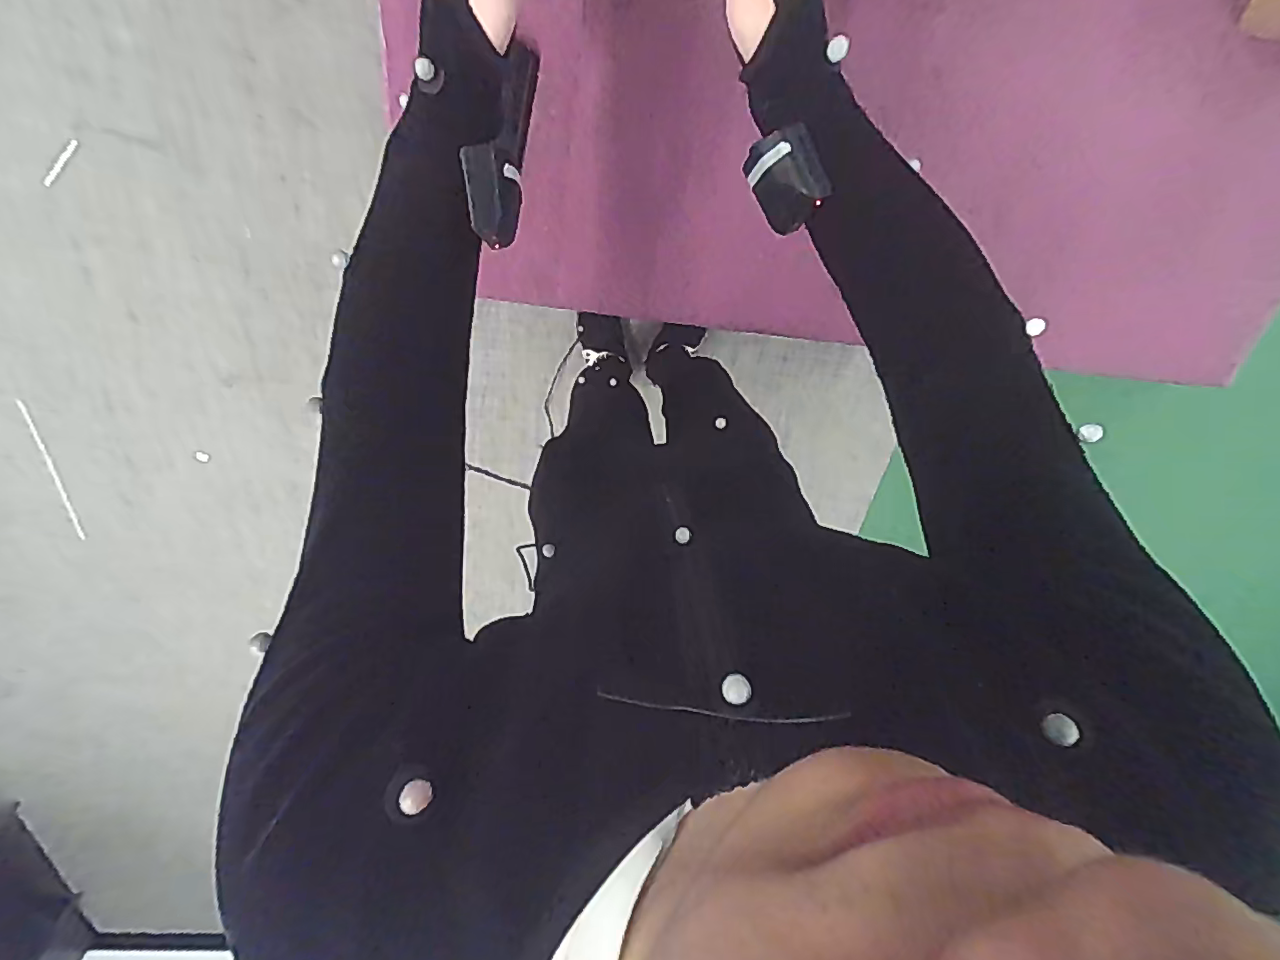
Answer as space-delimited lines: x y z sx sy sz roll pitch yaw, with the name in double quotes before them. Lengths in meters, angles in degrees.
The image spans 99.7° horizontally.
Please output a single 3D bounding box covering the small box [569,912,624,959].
"small box" -0.147 1.578 1.796 0.168 0.176 0.179 8 118 -8
